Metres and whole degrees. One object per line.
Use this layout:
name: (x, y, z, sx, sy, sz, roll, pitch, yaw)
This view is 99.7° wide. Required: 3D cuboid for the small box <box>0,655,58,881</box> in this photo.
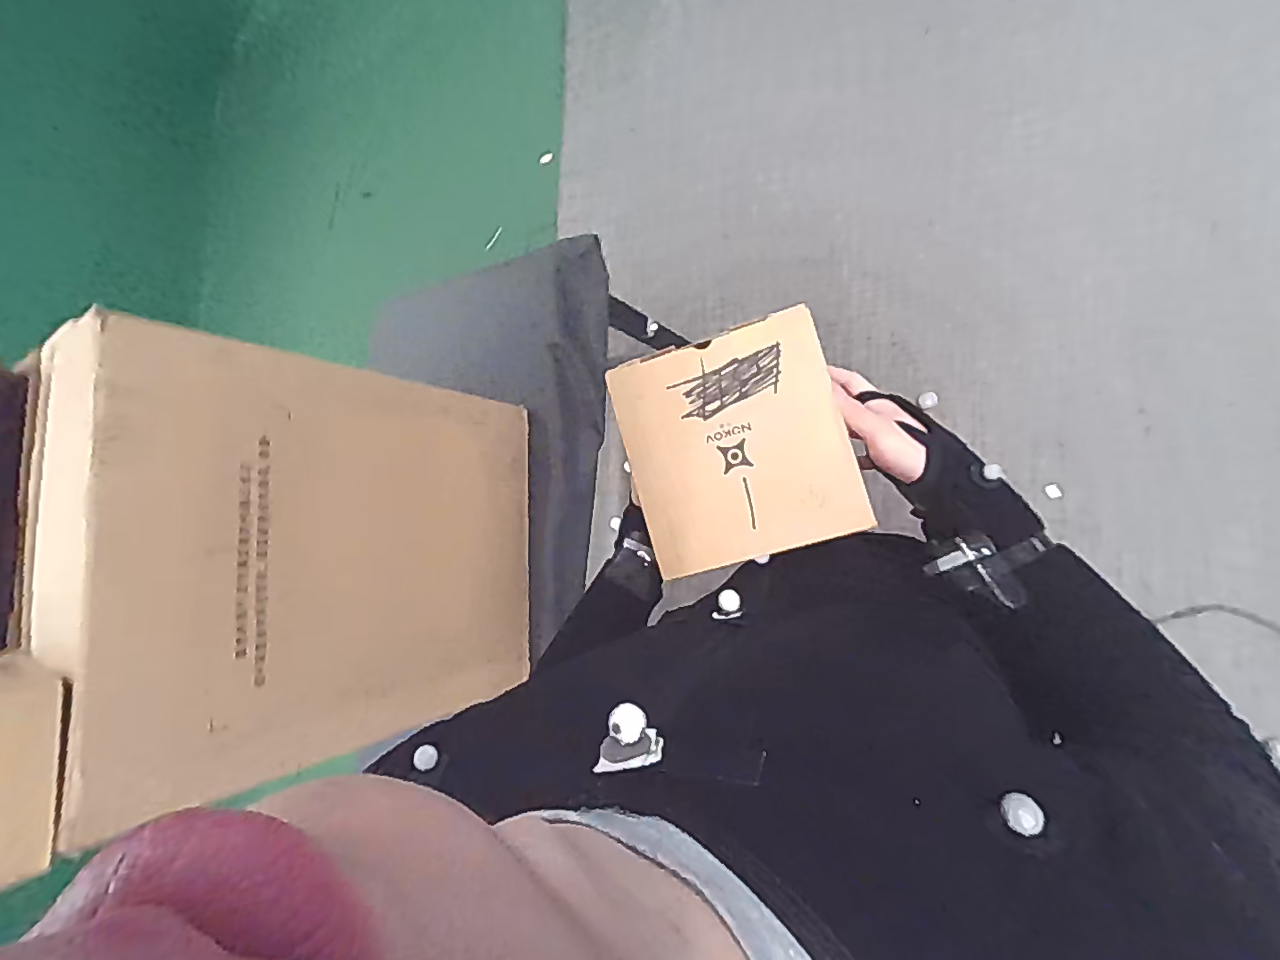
small box: (-0.662, 0.276, 0.482, 0.168, 0.176, 0.179, 2, 90, 30)
